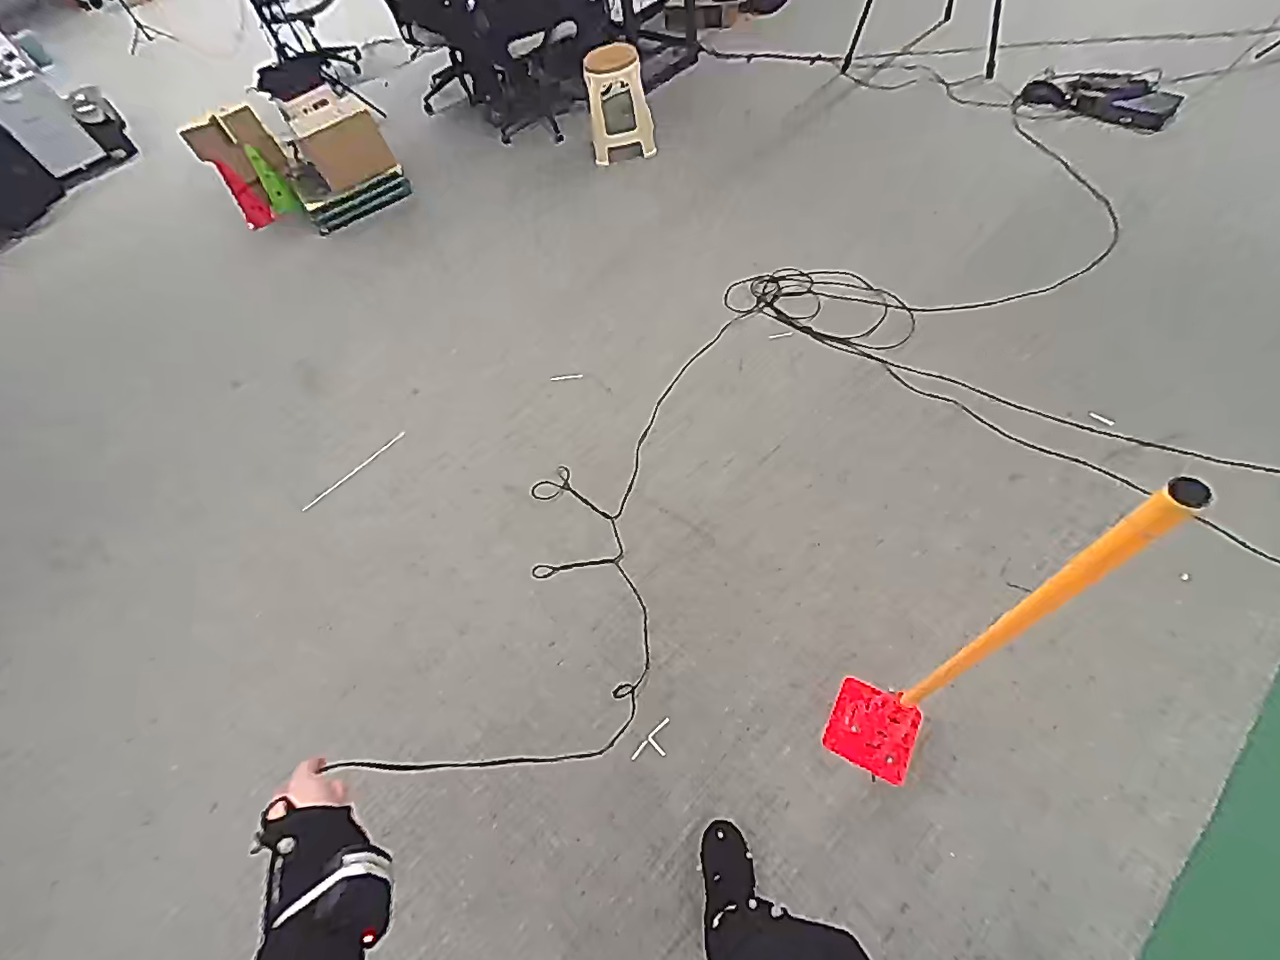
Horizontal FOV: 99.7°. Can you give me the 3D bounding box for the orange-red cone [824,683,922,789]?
[{"bbox_3d":[0.563,0.546,1.225,0.198,0.360,0.199,23,63,23],"label":"orange-red cone"}]
